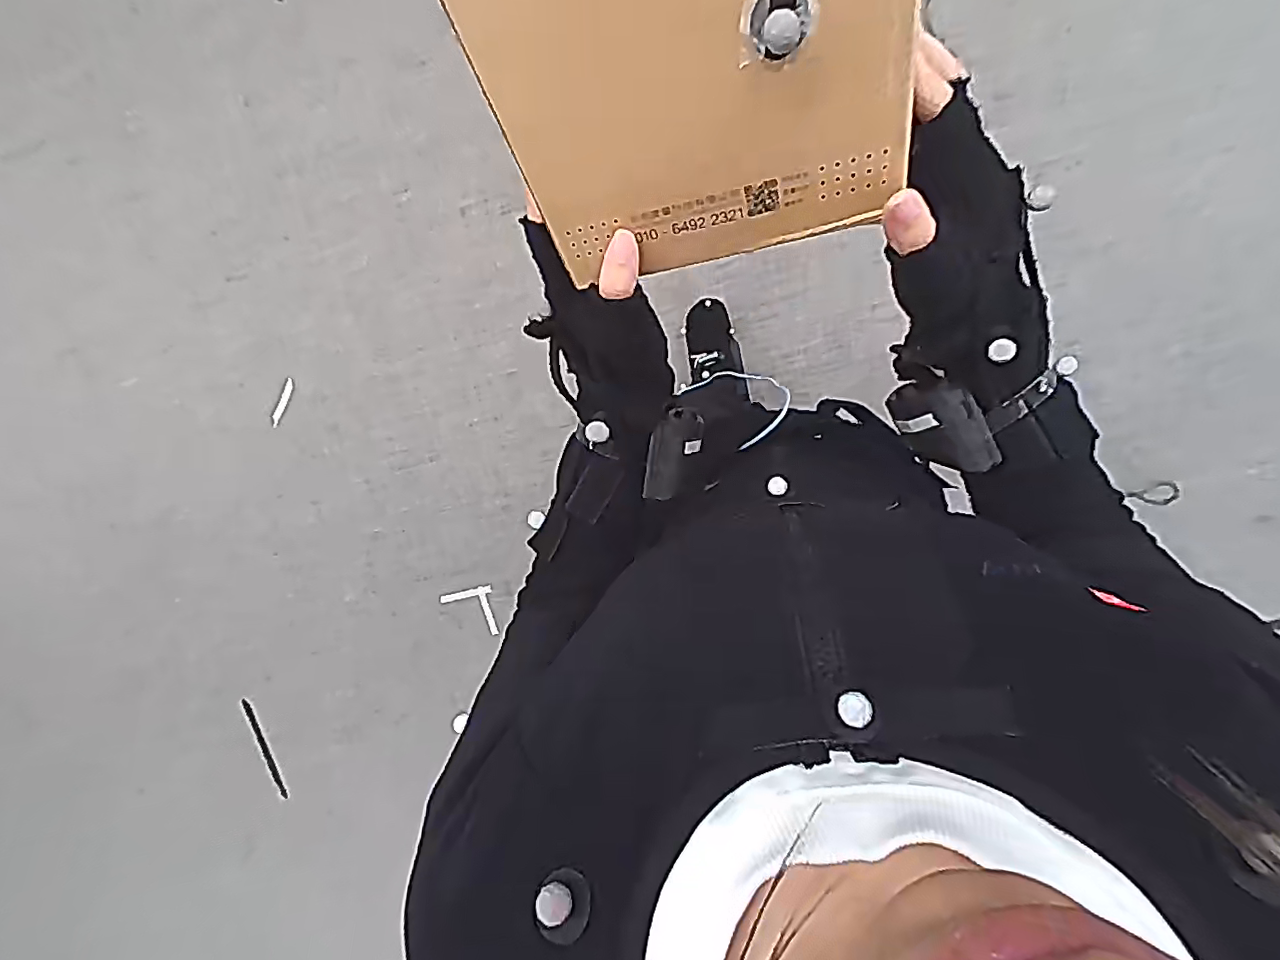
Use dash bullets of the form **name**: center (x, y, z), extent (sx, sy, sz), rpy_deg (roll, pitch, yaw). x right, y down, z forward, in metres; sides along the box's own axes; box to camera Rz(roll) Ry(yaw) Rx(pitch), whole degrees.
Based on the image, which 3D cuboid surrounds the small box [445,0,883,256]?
- **small box**: center (0.026, -0.237, 0.275), extent (0.168, 0.179, 0.176), rpy_deg (-5, 143, 18)
